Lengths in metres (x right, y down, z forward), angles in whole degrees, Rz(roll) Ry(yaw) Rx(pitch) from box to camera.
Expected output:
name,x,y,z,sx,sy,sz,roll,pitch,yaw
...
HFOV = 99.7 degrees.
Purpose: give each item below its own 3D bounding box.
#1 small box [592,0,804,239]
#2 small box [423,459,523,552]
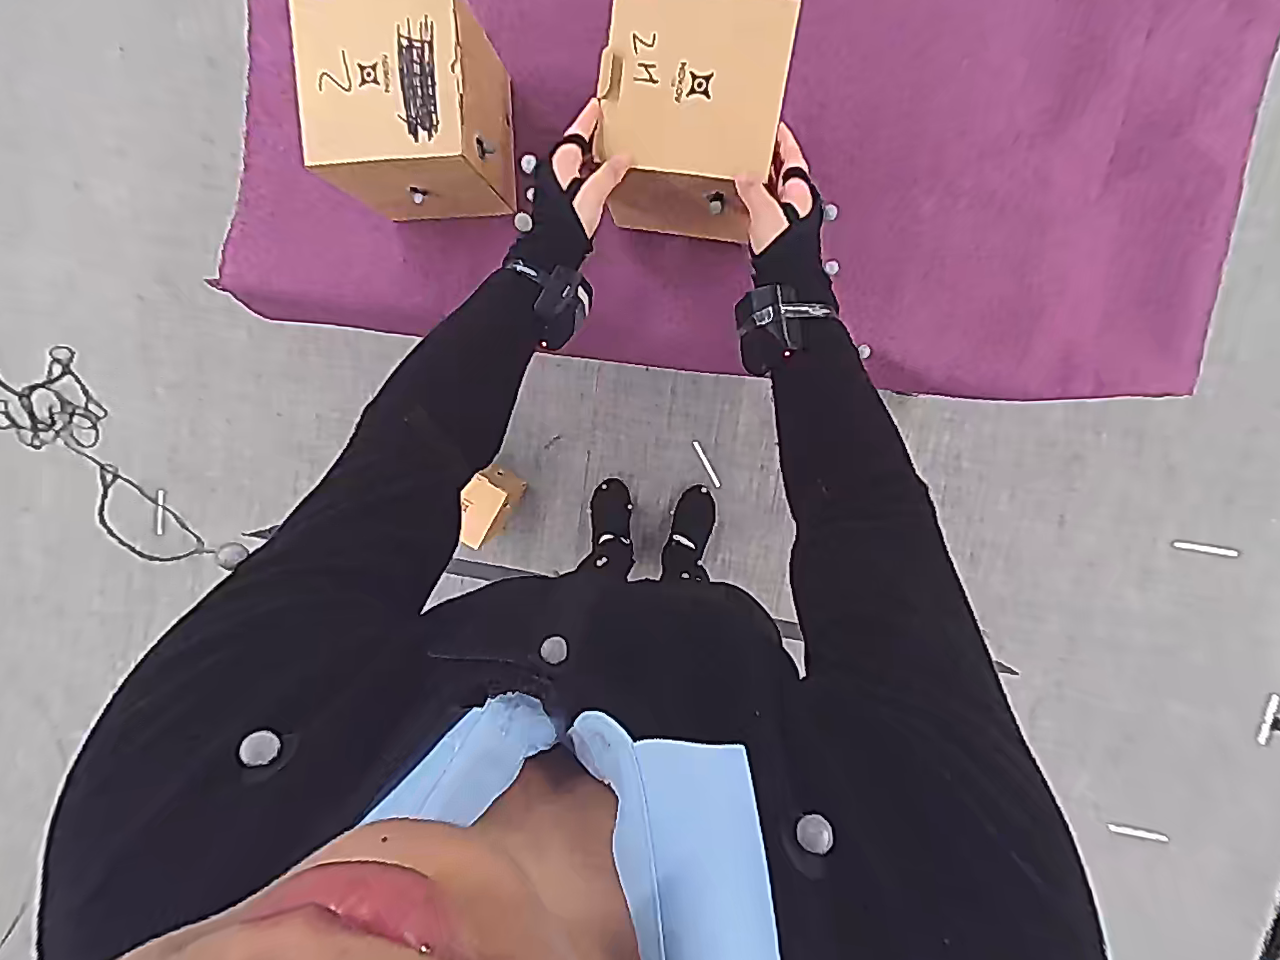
name,x,y,z,sx,sy,sz,roll,pitch,yaw
small box,0.061,-0.378,0.587,0.179,0.176,0.168,11,97,6
small box,-0.435,0.061,1.439,0.168,0.176,0.179,30,98,0
